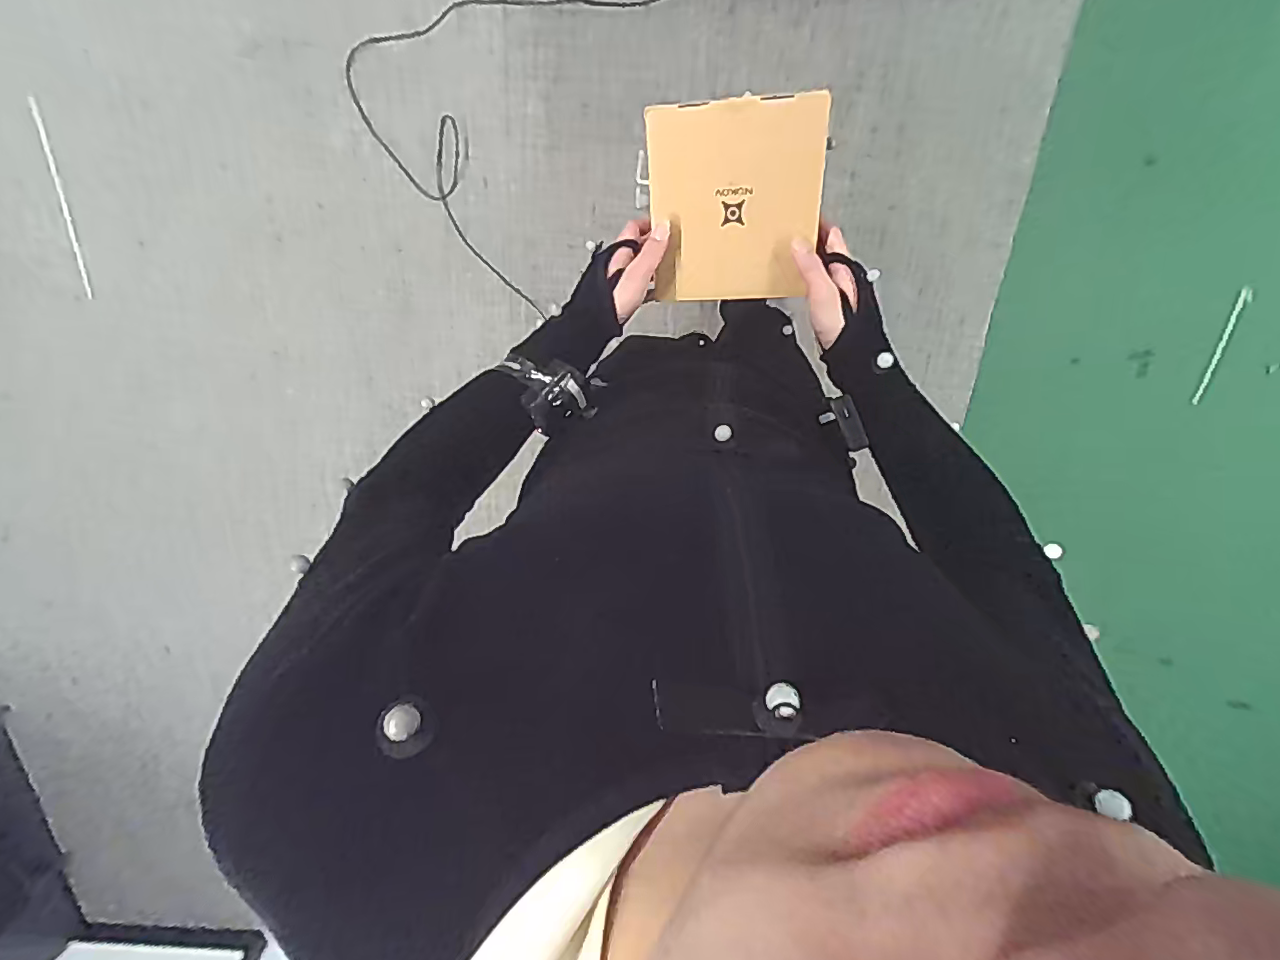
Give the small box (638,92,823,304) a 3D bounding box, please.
[{"bbox_3d":[0.098,-0.302,0.587,0.168,0.176,0.179,0,121,10],"label":"small box"}]
